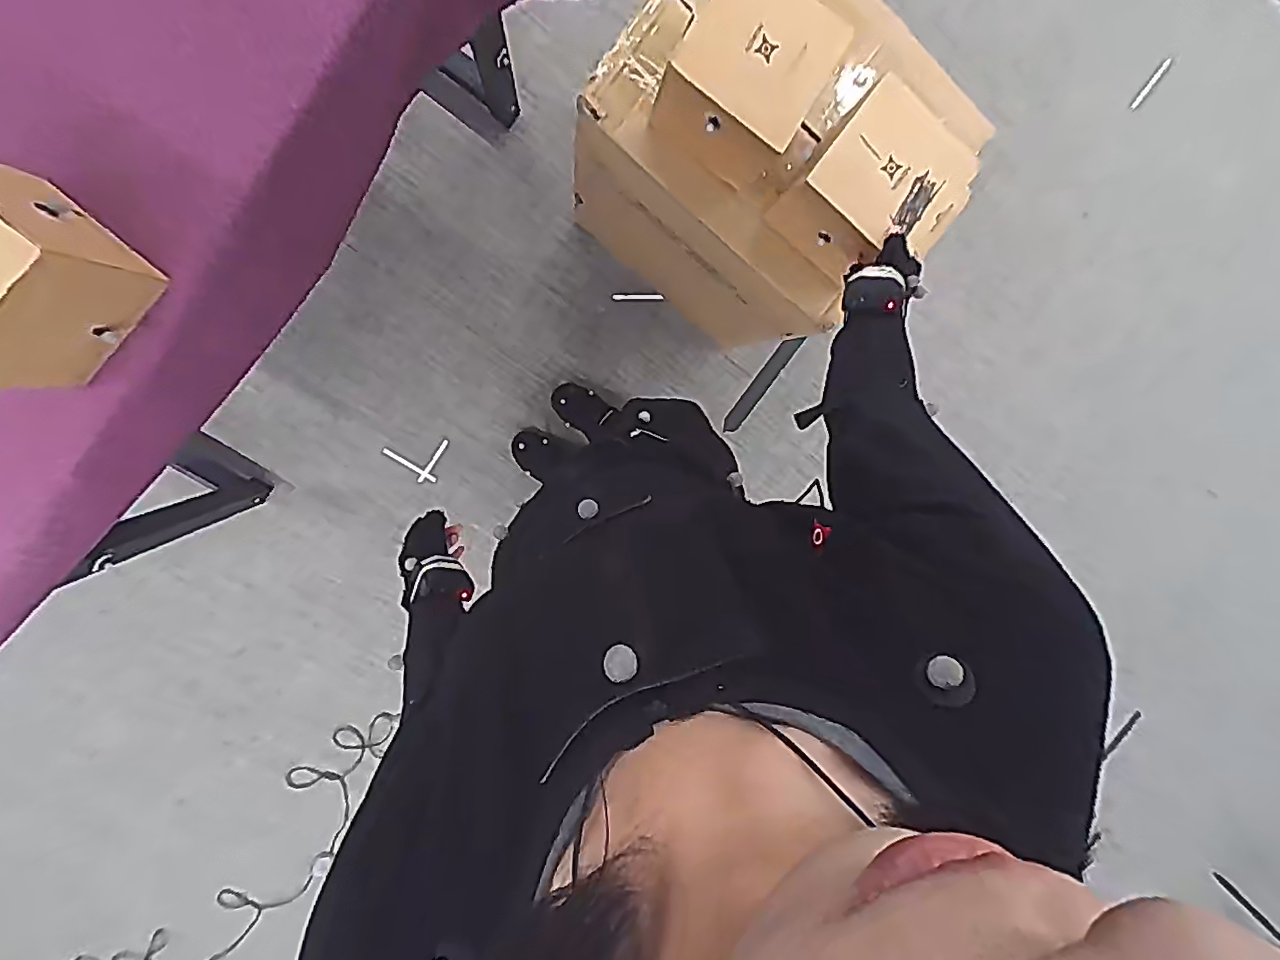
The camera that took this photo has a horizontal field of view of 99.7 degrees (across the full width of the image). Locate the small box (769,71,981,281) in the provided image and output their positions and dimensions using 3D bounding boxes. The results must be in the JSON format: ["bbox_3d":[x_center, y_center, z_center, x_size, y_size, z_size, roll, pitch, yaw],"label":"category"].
[{"bbox_3d":[0.315,-0.405,0.763,0.179,0.176,0.168,36,95,-10],"label":"small box"}]

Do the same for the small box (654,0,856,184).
[{"bbox_3d":[0.137,-0.532,0.718,0.179,0.176,0.168,31,97,-13],"label":"small box"}]

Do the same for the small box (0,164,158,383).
[{"bbox_3d":[-0.671,-0.219,0.563,0.168,0.176,0.179,41,92,-12],"label":"small box"}]
